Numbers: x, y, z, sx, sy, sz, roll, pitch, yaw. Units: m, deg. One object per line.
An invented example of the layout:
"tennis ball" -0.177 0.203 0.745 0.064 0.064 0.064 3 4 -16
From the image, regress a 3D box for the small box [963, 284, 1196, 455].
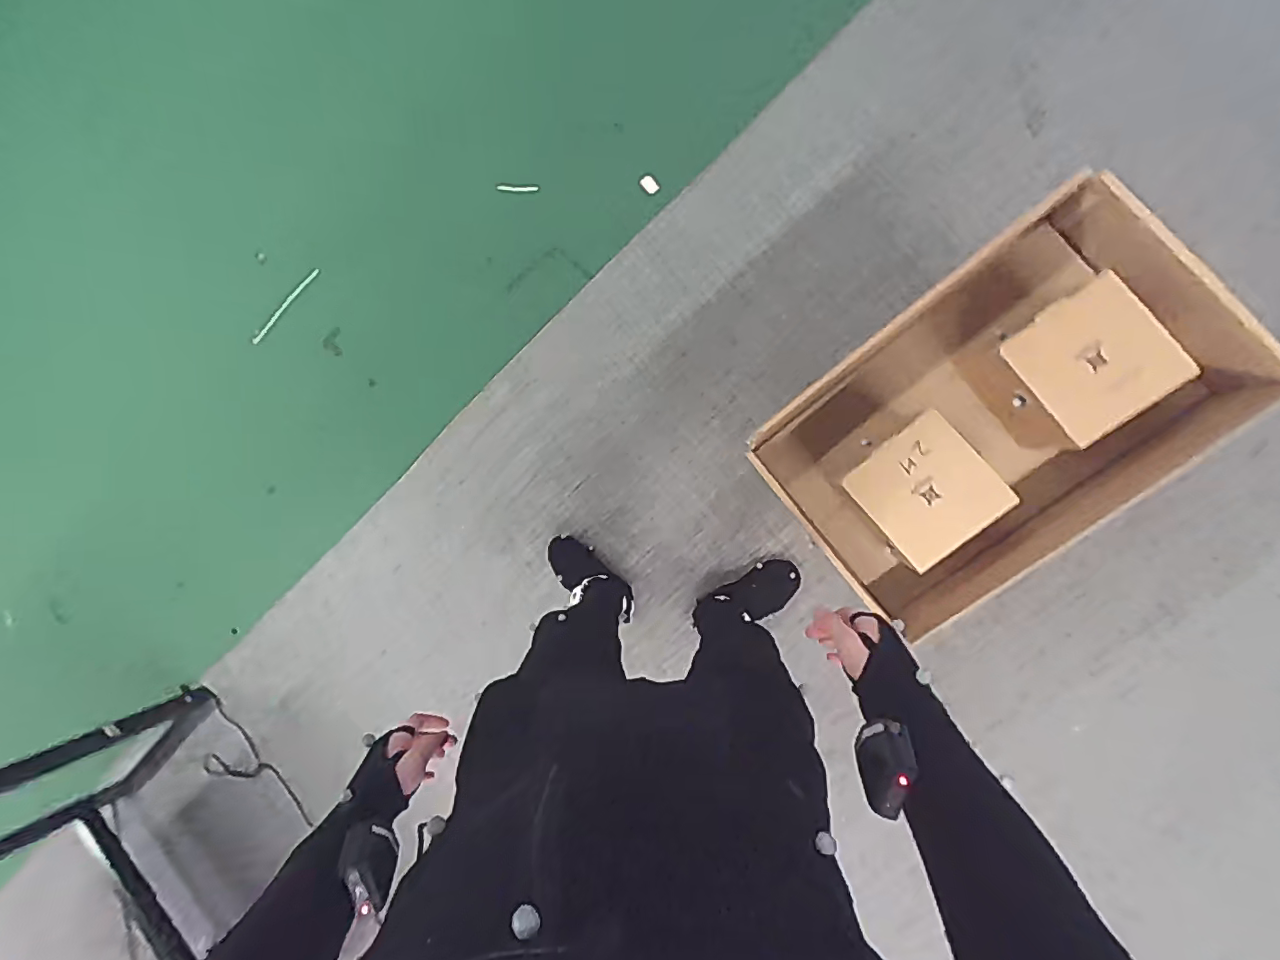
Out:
"small box" 0.626 -0.148 0.801 0.168 0.176 0.179 -36 85 11

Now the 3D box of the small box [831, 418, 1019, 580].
"small box" 0.425 0.025 0.842 0.168 0.176 0.179 -40 83 9
